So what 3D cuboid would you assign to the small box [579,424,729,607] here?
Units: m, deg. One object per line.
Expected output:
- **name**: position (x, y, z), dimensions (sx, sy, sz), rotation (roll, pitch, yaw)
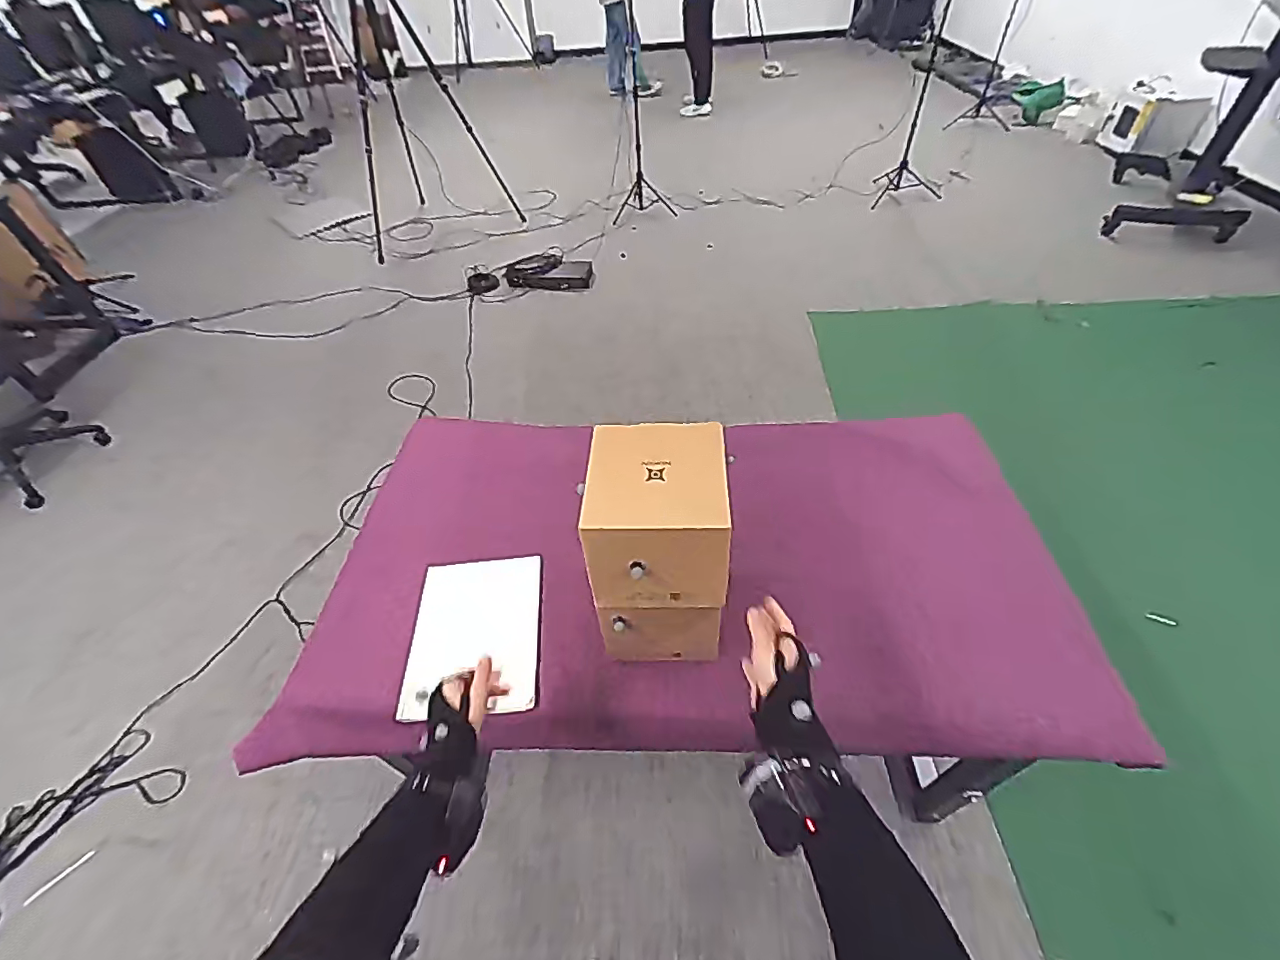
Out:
- **small box**: position (0.025, 0.048, 0.693), dimensions (0.168, 0.176, 0.179), rotation (0, 45, 4)
